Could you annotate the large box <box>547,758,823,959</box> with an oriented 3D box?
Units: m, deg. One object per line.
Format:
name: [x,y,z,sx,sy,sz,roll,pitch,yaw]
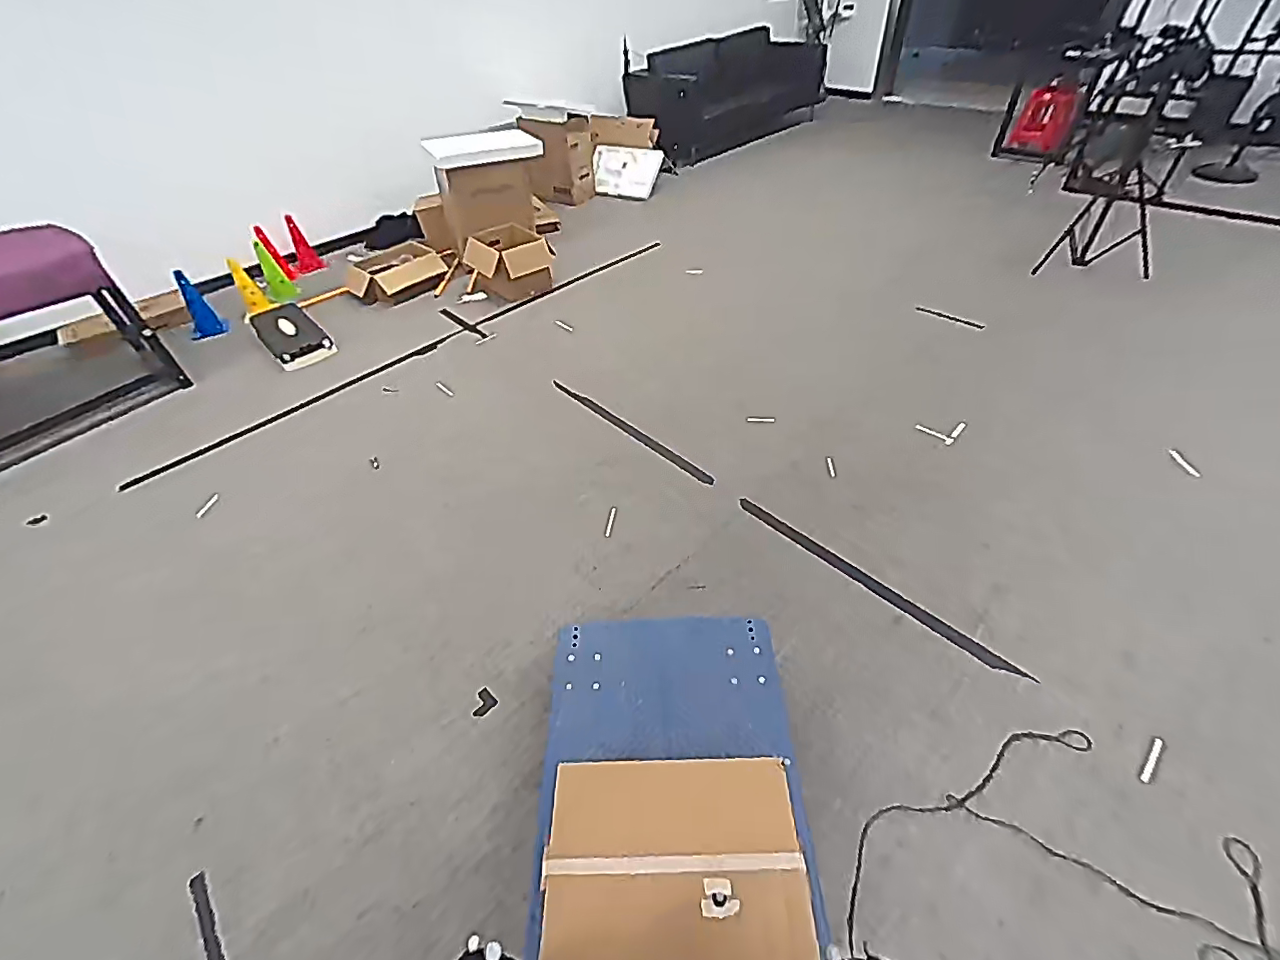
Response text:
large box: [0.064,0.721,0.959,0.408,0.320,0.320,-2,44,1]
